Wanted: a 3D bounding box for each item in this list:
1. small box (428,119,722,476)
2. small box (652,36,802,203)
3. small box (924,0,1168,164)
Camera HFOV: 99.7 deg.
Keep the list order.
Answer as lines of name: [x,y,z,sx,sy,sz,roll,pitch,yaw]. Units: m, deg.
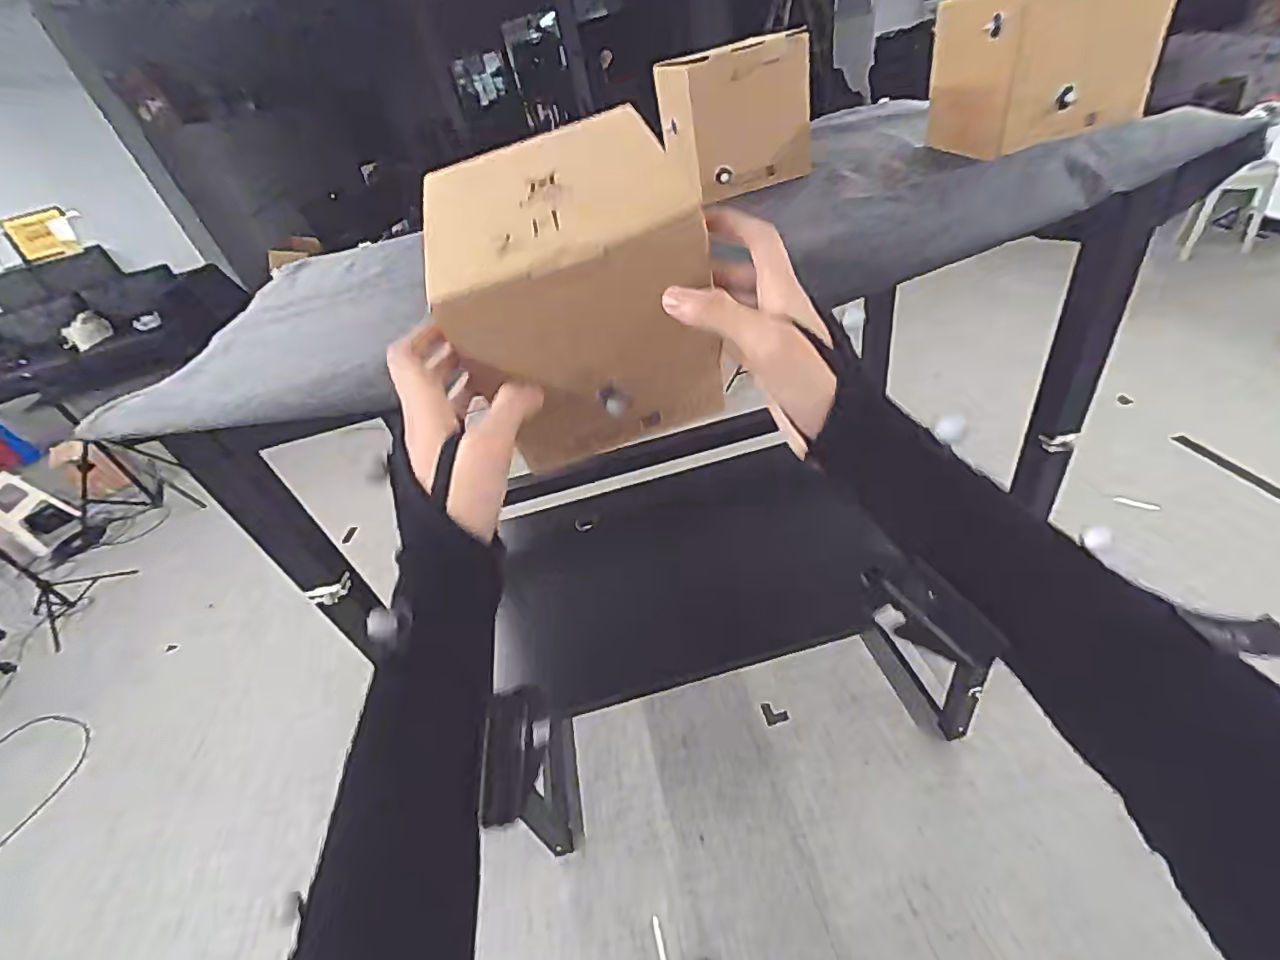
small box: [-0.044,-0.133,0.415,0.168,0.176,0.179,-18,53,1]
small box: [0.130,-0.528,0.802,0.168,0.176,0.179,-17,38,-4]
small box: [0.476,-0.506,0.664,0.168,0.176,0.179,-13,39,3]
